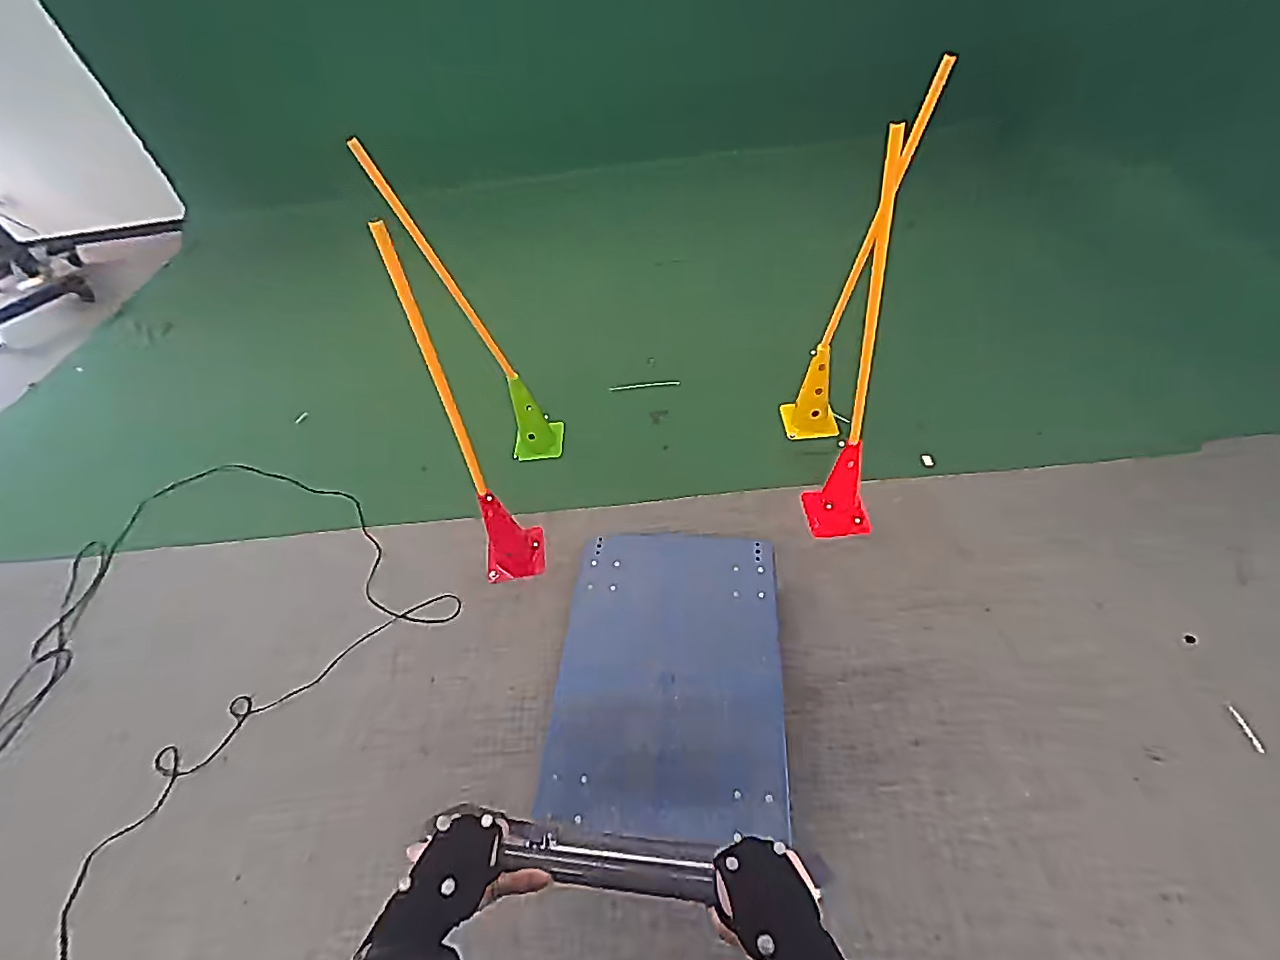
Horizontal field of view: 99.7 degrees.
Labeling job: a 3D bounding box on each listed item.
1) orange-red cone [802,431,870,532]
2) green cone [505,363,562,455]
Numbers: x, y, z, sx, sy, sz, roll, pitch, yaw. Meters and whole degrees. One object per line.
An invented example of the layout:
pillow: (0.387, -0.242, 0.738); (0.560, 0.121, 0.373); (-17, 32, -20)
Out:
orange-red cone: (0.648, -0.017, 1.716); (0.198, 0.360, 0.199); (-5, 48, 3)
green cone: (-0.445, -0.293, 2.096); (0.200, 0.368, 0.202); (-6, 49, 4)
